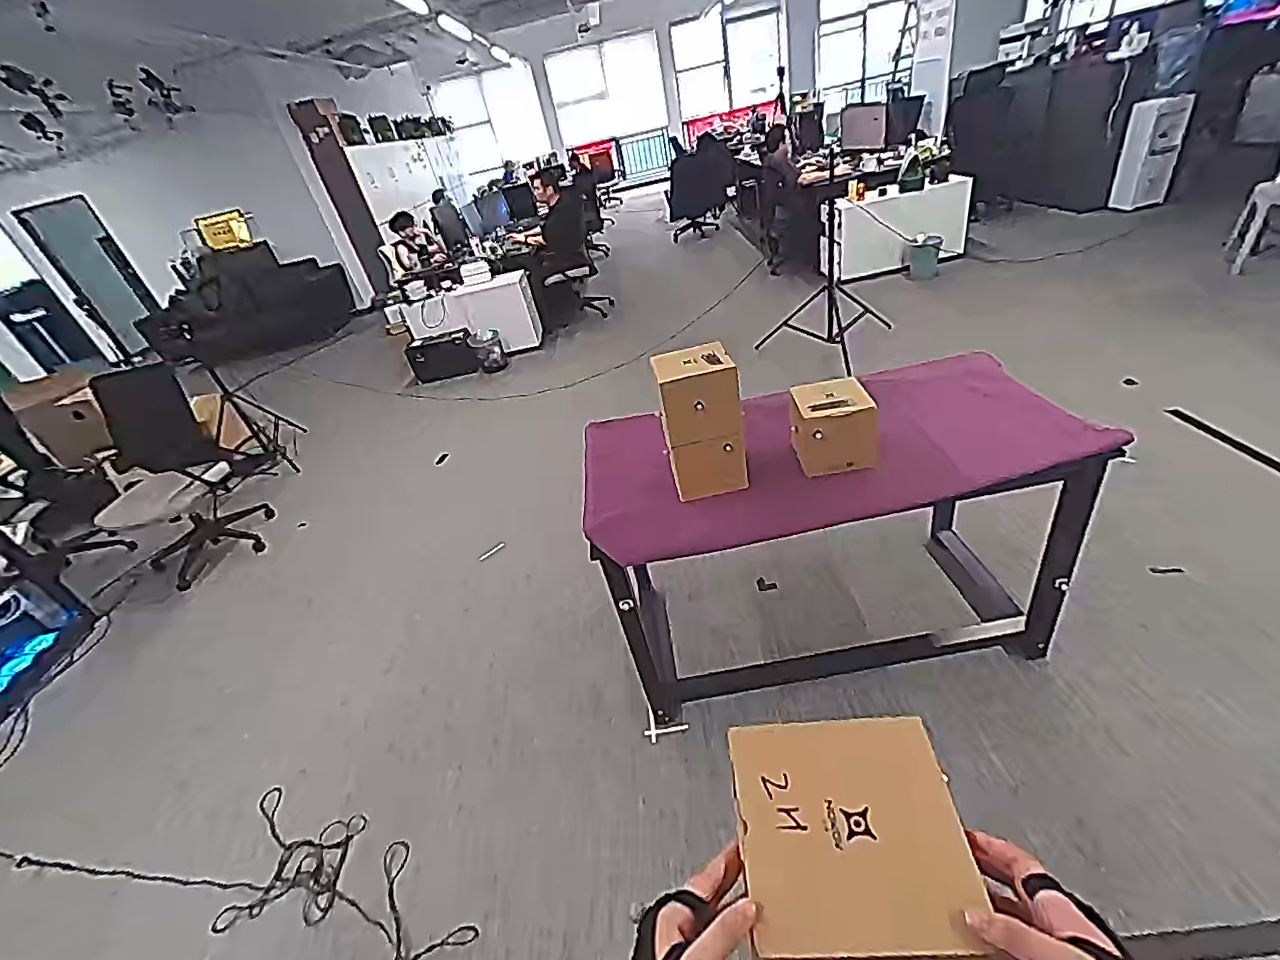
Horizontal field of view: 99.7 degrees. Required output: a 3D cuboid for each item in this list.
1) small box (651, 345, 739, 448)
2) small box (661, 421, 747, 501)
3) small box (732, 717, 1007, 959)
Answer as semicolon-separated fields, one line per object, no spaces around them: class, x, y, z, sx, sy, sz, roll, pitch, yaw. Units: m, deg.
small box;0.132;-0.198;1.282;0.179;0.176;0.168;-13;33;1
small box;0.162;-0.066;1.376;0.179;0.176;0.168;-12;33;1
small box;0.181;0.335;0.490;0.179;0.176;0.168;-7;41;7
